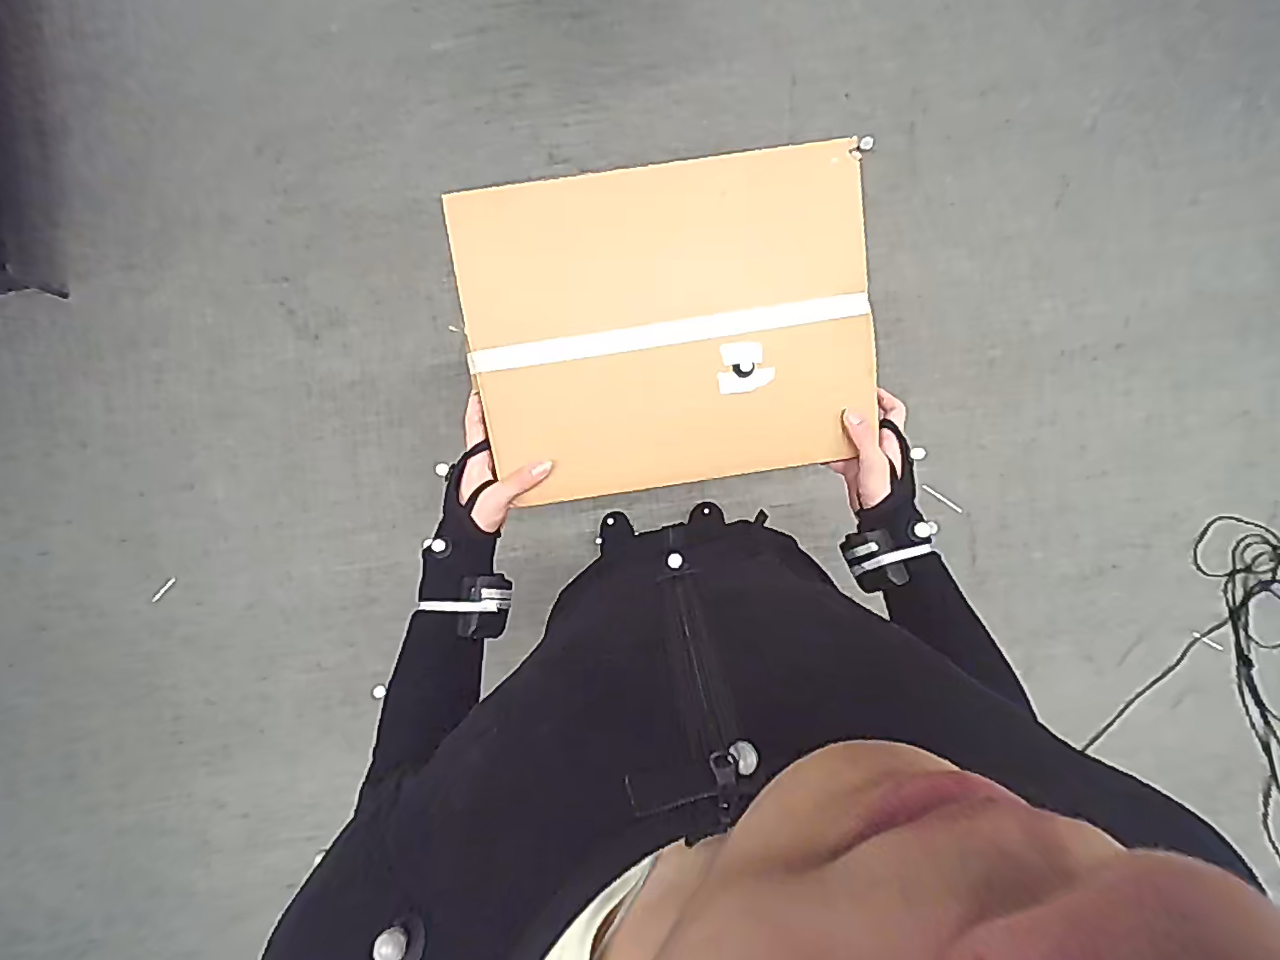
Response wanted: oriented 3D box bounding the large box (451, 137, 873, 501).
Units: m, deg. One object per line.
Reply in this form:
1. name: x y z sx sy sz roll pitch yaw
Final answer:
1. large box: 0.025 -0.182 0.700 0.408 0.320 0.320 -9 101 -2
